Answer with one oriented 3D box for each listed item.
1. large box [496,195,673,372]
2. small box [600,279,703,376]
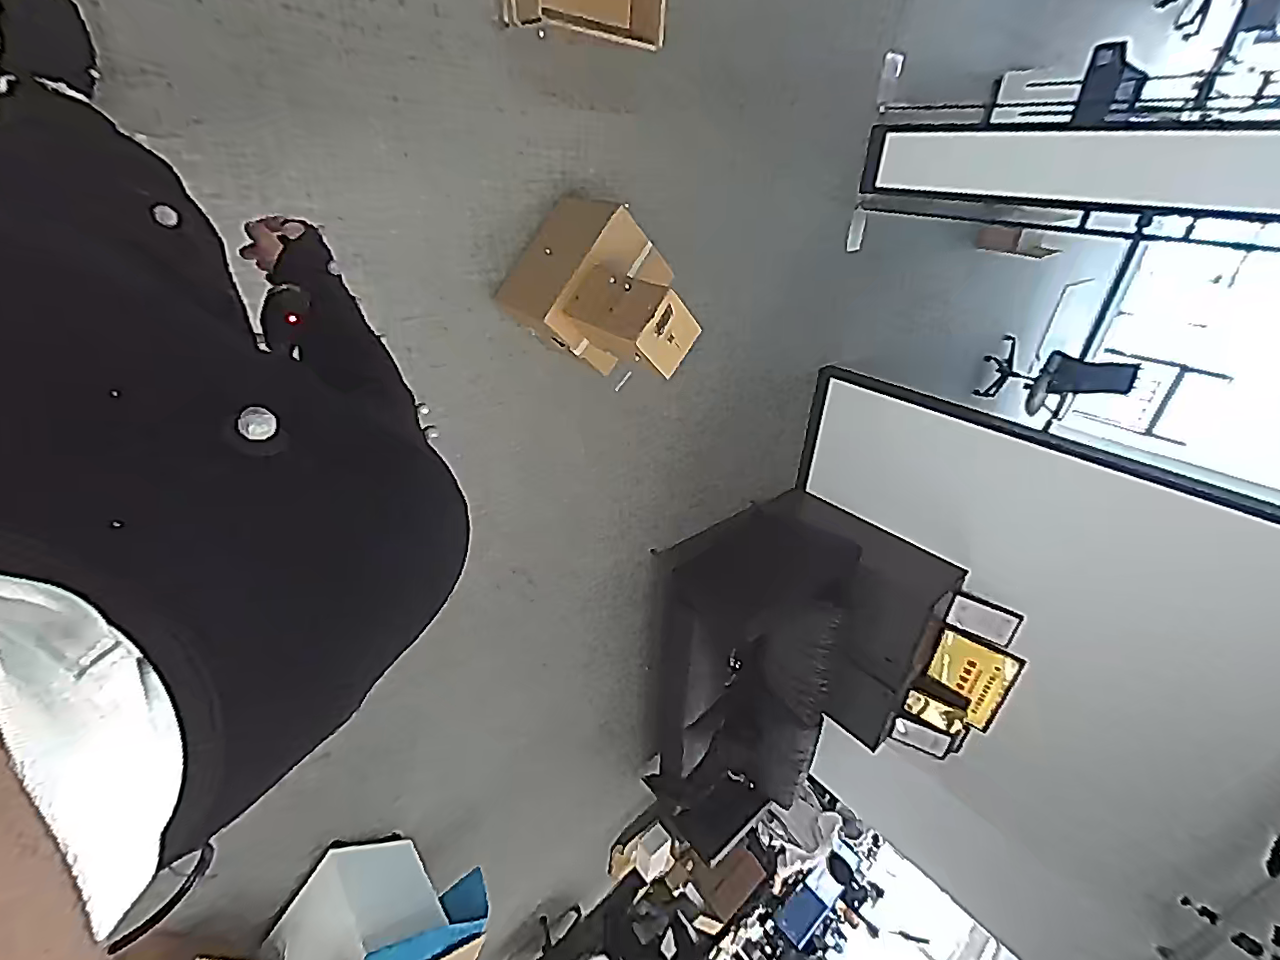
[{"bbox_3d":[-0.177,-0.620,1.711,0.408,0.320,0.320,-58,141,-1],"label":"large box"},{"bbox_3d":[0.028,-0.404,1.418,0.168,0.176,0.179,-56,141,-2],"label":"small box"}]
